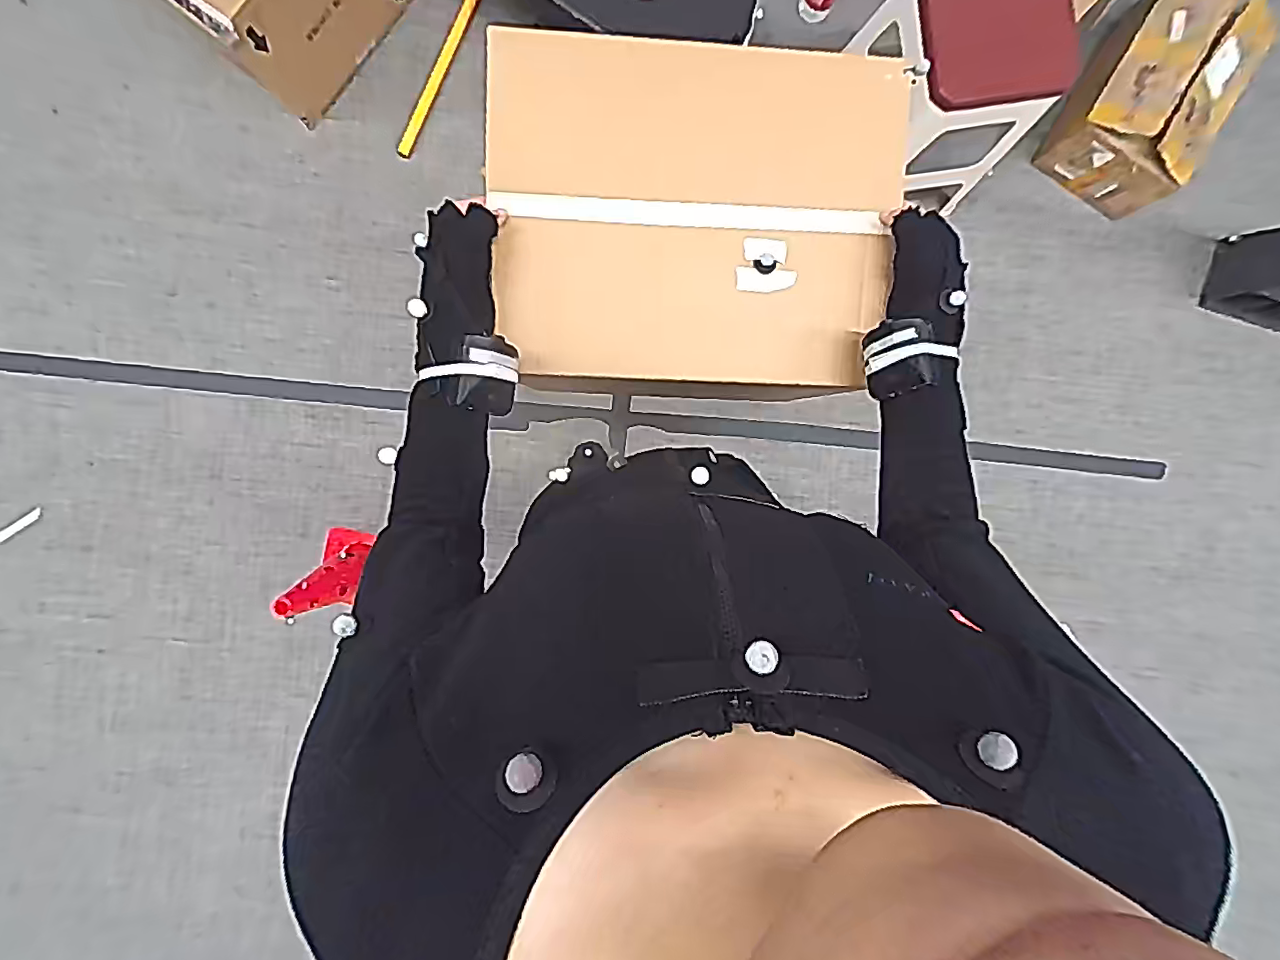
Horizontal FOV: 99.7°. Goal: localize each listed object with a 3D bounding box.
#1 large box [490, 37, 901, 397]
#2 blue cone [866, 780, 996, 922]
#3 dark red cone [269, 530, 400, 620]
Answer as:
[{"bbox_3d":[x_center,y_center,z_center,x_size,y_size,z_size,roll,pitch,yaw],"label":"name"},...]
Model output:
[{"bbox_3d":[0.045,-0.271,0.676,0.408,0.320,0.320,2,96,-4],"label":"large box"},{"bbox_3d":[0.769,0.977,1.411,0.192,0.380,0.193,9,92,-5],"label":"blue cone"},{"bbox_3d":[-0.725,0.248,1.249,0.201,0.394,0.202,12,92,-5],"label":"dark red cone"}]
